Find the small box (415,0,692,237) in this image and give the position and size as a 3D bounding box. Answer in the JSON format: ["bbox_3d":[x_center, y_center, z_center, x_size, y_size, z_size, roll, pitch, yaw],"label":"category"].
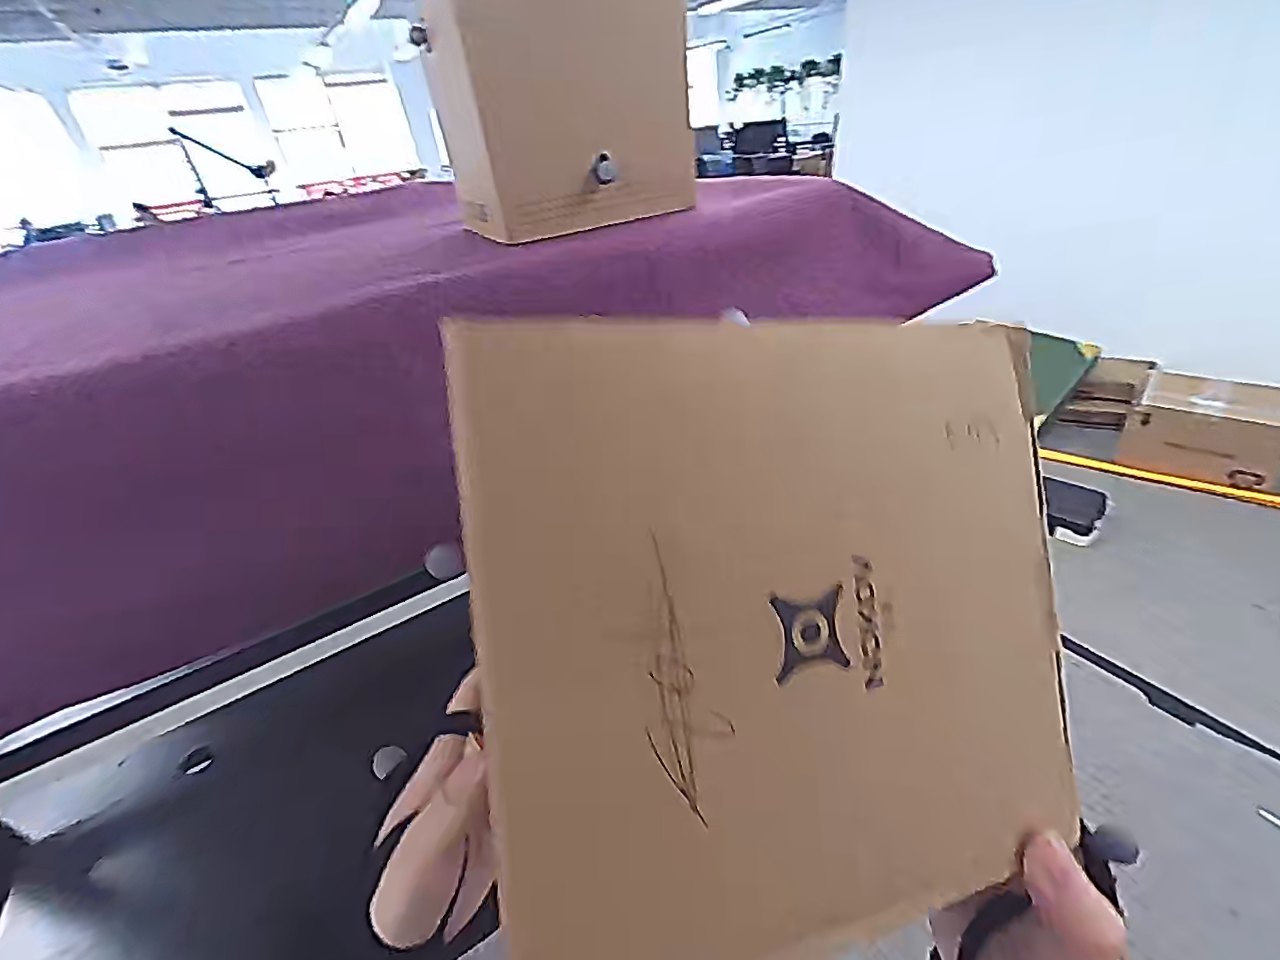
[{"bbox_3d":[-0.068,-0.319,0.461,0.179,0.176,0.168,-21,35,-20],"label":"small box"}]
